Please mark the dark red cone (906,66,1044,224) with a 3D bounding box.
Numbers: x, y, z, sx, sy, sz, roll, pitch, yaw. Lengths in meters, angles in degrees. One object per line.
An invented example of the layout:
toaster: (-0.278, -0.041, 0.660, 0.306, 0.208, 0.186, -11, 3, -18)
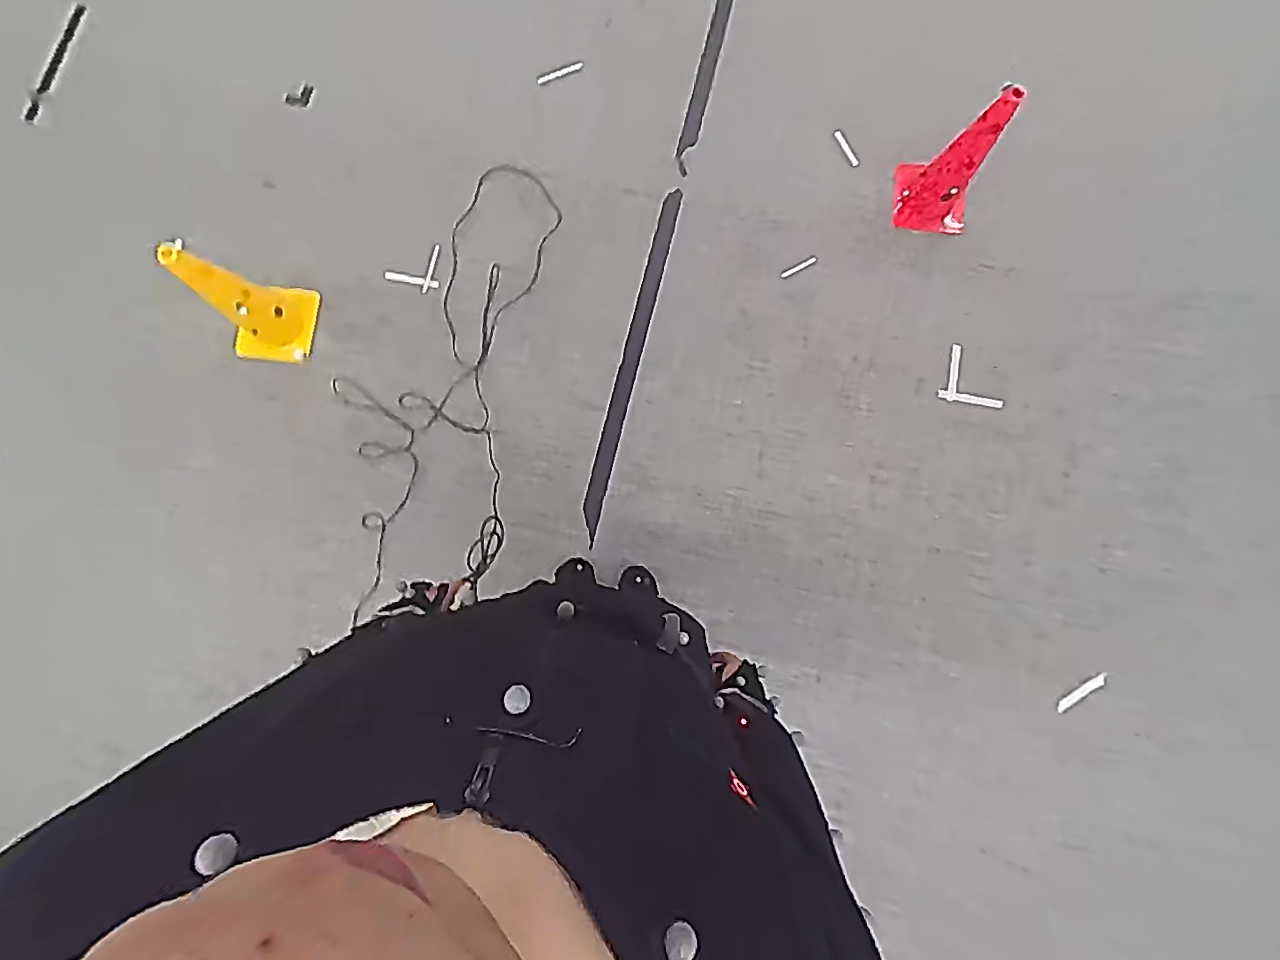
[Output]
dark red cone: (0.822, -0.816, 1.307, 0.201, 0.394, 0.202, 6, 83, 2)
